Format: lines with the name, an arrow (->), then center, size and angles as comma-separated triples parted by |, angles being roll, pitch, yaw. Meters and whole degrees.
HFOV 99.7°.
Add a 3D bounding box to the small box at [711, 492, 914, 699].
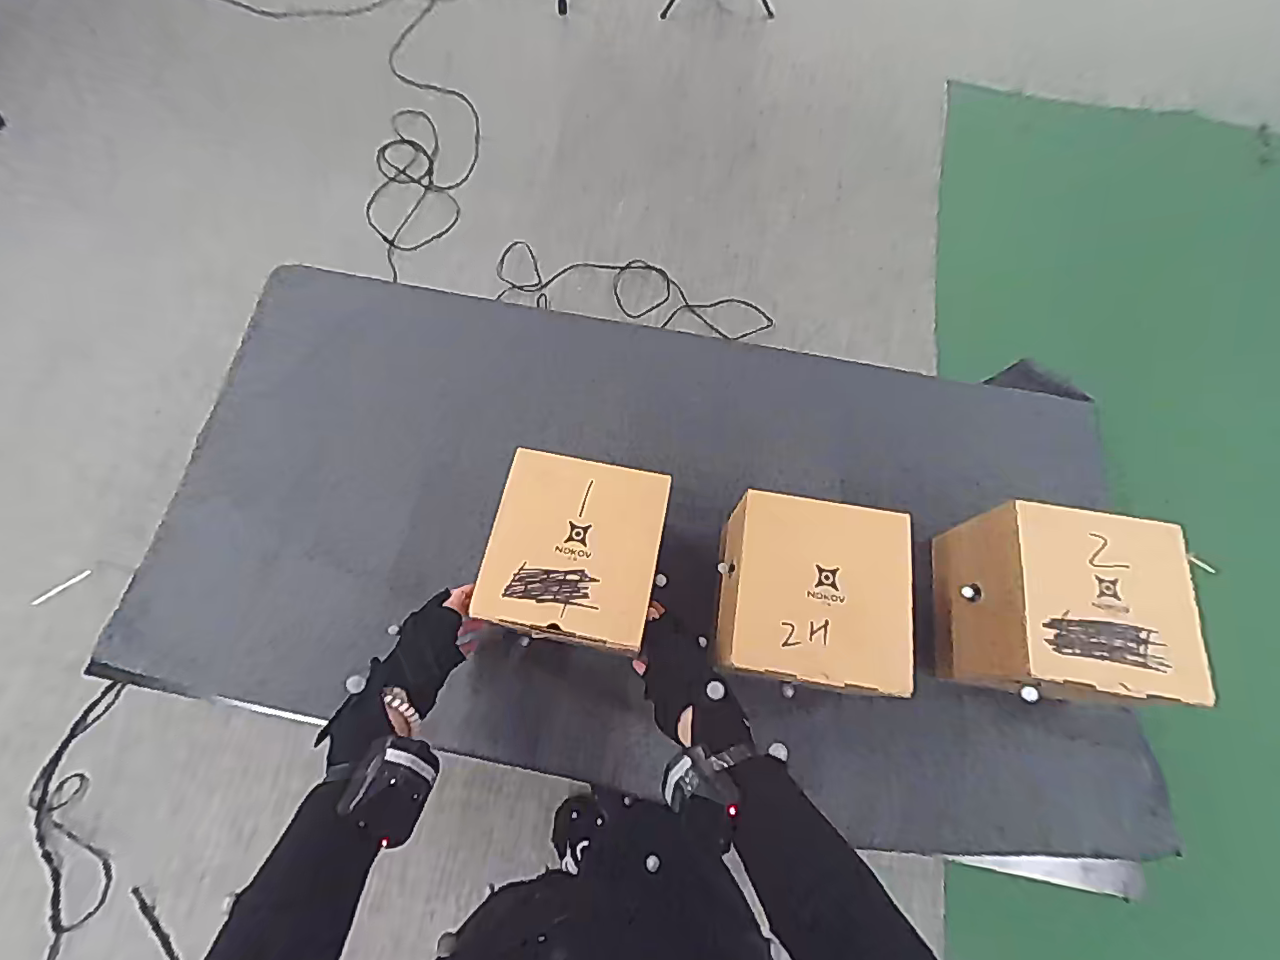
small box -> 0.176, 0.132, 0.590 | 0.168, 0.176, 0.179 | 9, 69, 2
